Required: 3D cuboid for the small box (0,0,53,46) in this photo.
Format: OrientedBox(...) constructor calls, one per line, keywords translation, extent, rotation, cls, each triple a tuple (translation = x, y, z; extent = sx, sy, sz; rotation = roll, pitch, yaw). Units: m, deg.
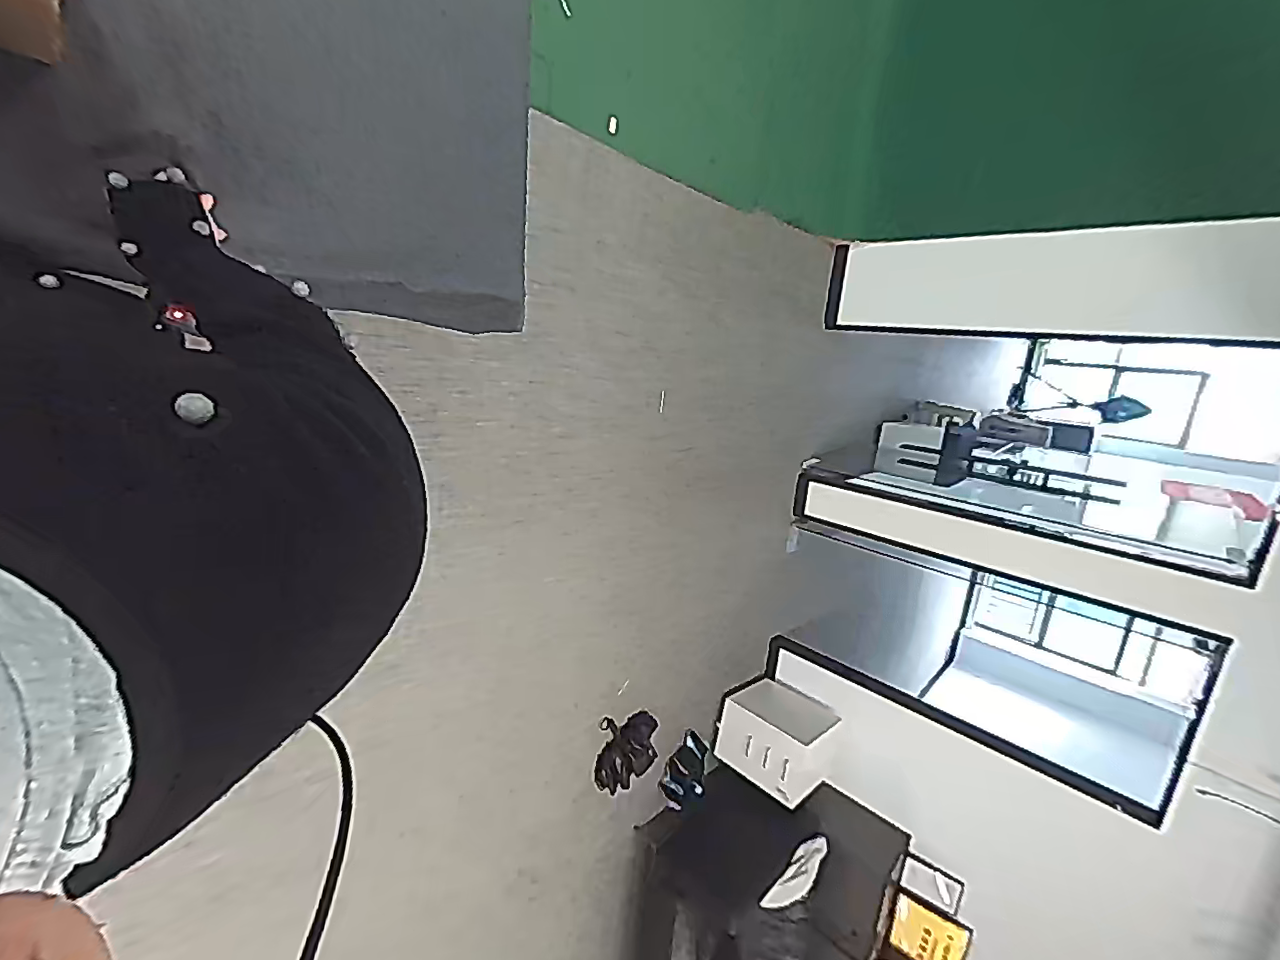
OrientedBox(translation=(-0.556, -0.466, 0.394), extent=(0.168, 0.176, 0.179), rotation=(-7, 109, -47), cls="small box")
